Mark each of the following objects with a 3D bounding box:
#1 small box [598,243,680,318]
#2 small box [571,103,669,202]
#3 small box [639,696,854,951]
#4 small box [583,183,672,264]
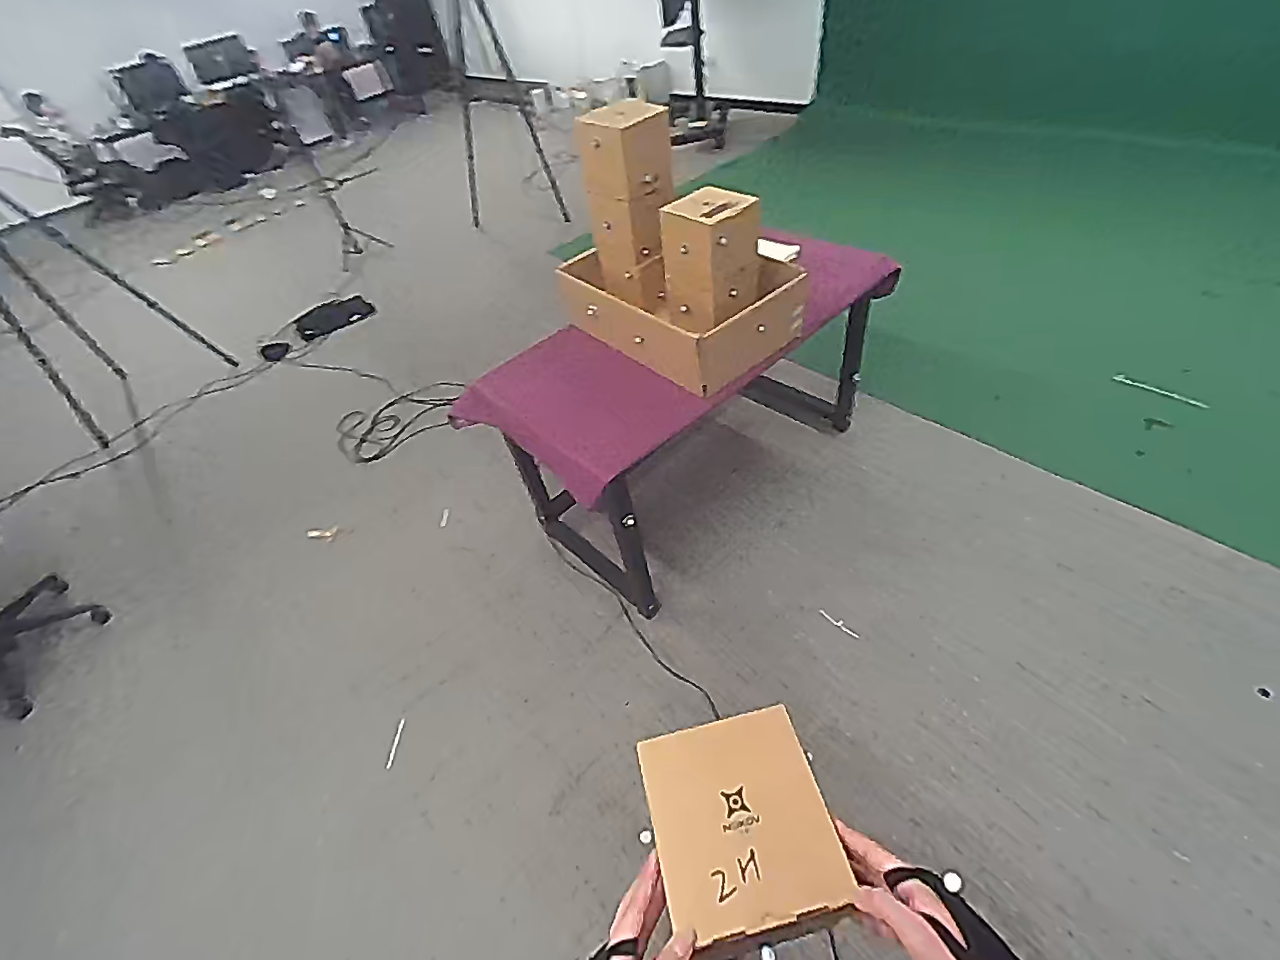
[{"bbox_3d":[0.000,-0.606,1.606,0.168,0.176,0.179,-38,54,-23],"label":"small box"},{"bbox_3d":[-0.046,-0.828,1.370,0.168,0.176,0.179,-39,54,-23],"label":"small box"},{"bbox_3d":[0.099,0.364,0.575,0.168,0.176,0.179,-12,44,-3],"label":"small box"},{"bbox_3d":[-0.027,-0.719,1.489,0.168,0.176,0.179,-39,53,-24],"label":"small box"}]
